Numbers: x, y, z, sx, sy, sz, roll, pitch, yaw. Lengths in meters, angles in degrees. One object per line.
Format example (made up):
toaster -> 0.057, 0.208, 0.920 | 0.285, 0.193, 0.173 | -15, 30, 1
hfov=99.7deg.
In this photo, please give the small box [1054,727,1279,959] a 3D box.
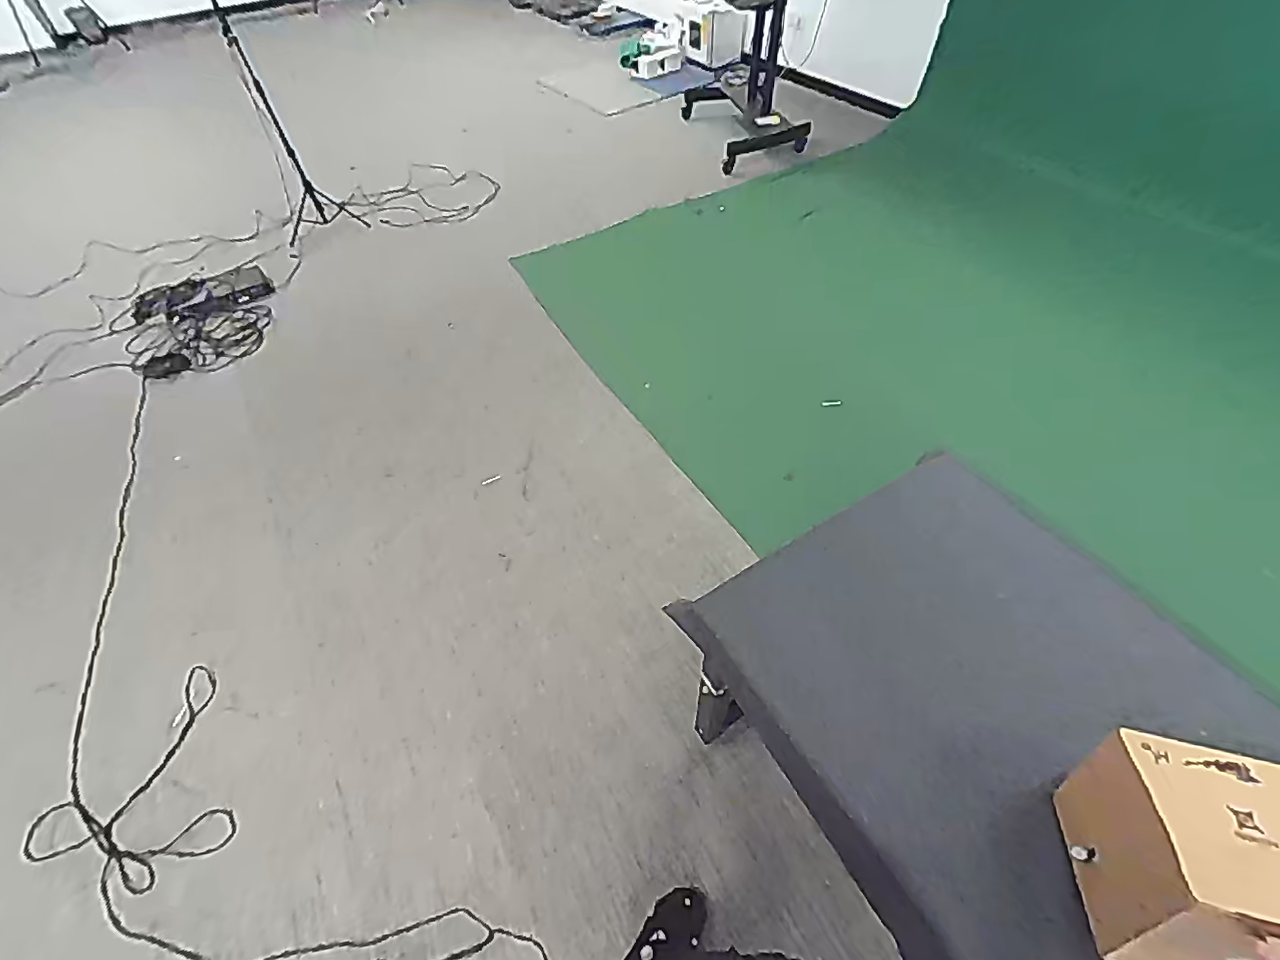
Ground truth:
small box -> 0.581, 0.406, 0.568 | 0.168, 0.176, 0.179 | 13, 36, 15
